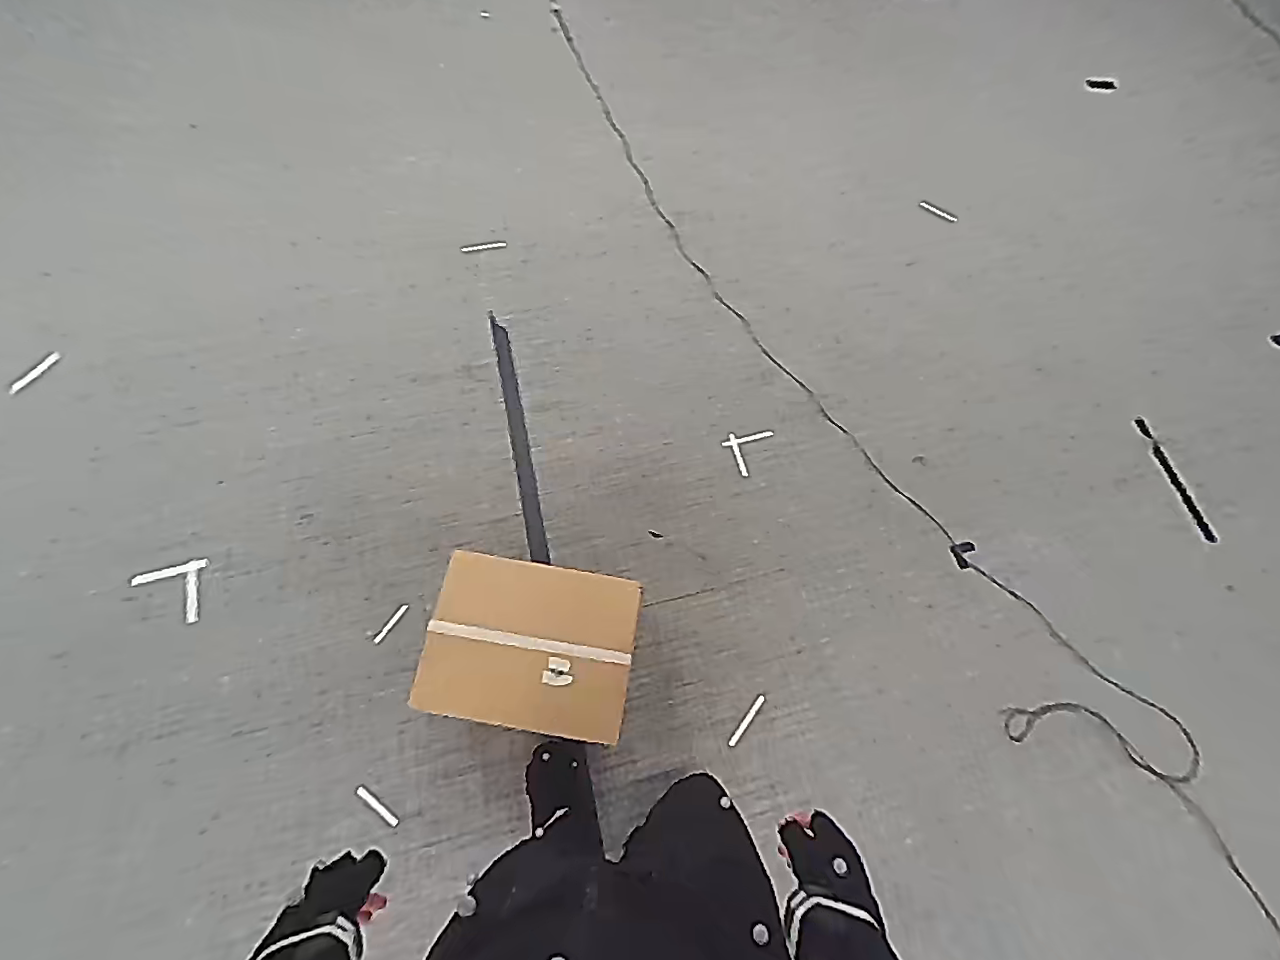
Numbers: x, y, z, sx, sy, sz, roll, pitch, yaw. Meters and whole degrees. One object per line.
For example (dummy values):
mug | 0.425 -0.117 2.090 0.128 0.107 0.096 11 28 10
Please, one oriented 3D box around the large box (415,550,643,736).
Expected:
large box | -0.221 0.369 1.215 0.408 0.320 0.320 10 69 0
